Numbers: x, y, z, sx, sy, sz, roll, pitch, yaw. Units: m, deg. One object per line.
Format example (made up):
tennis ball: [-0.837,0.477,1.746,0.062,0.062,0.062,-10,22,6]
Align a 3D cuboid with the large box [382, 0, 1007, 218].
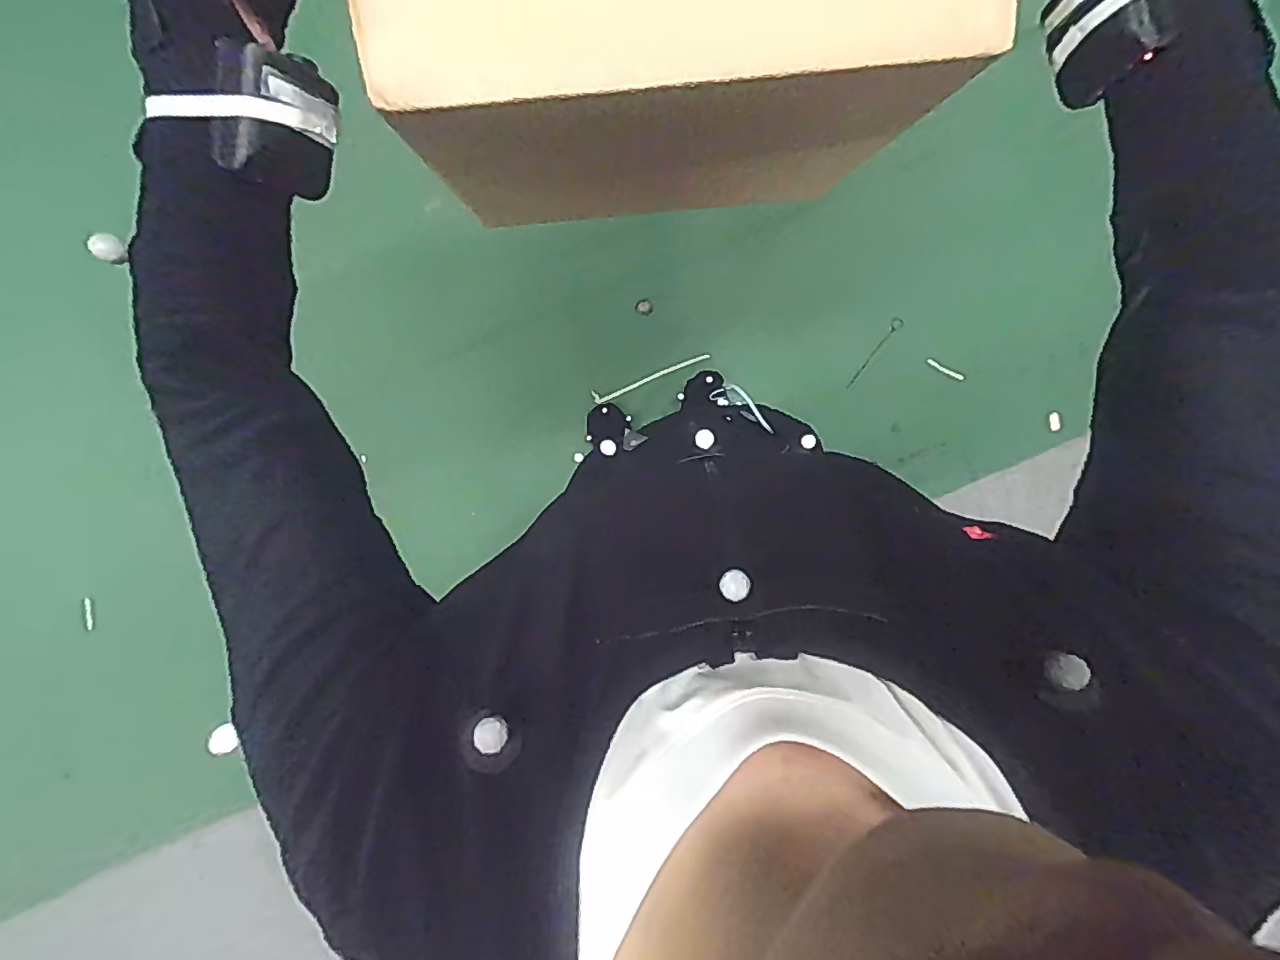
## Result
large box: [0.015,-0.442,0.458,0.408,0.320,0.320,-7,104,-3]
